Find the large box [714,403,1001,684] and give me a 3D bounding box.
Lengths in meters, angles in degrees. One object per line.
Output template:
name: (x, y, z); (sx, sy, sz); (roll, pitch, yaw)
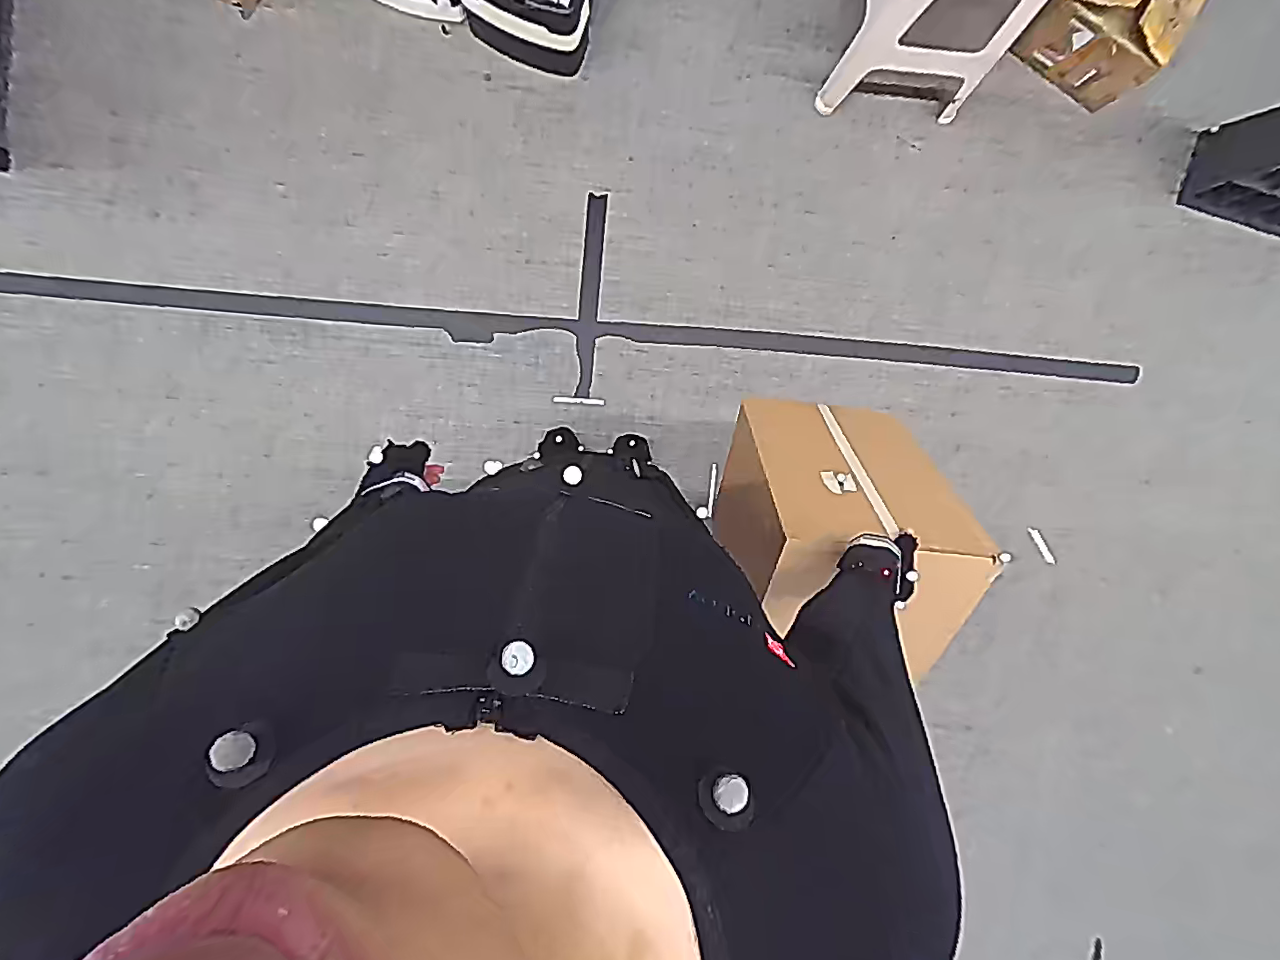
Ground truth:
large box: (0.336, 0.104, 0.992); (0.320, 0.408, 0.320); (5, 127, -4)
